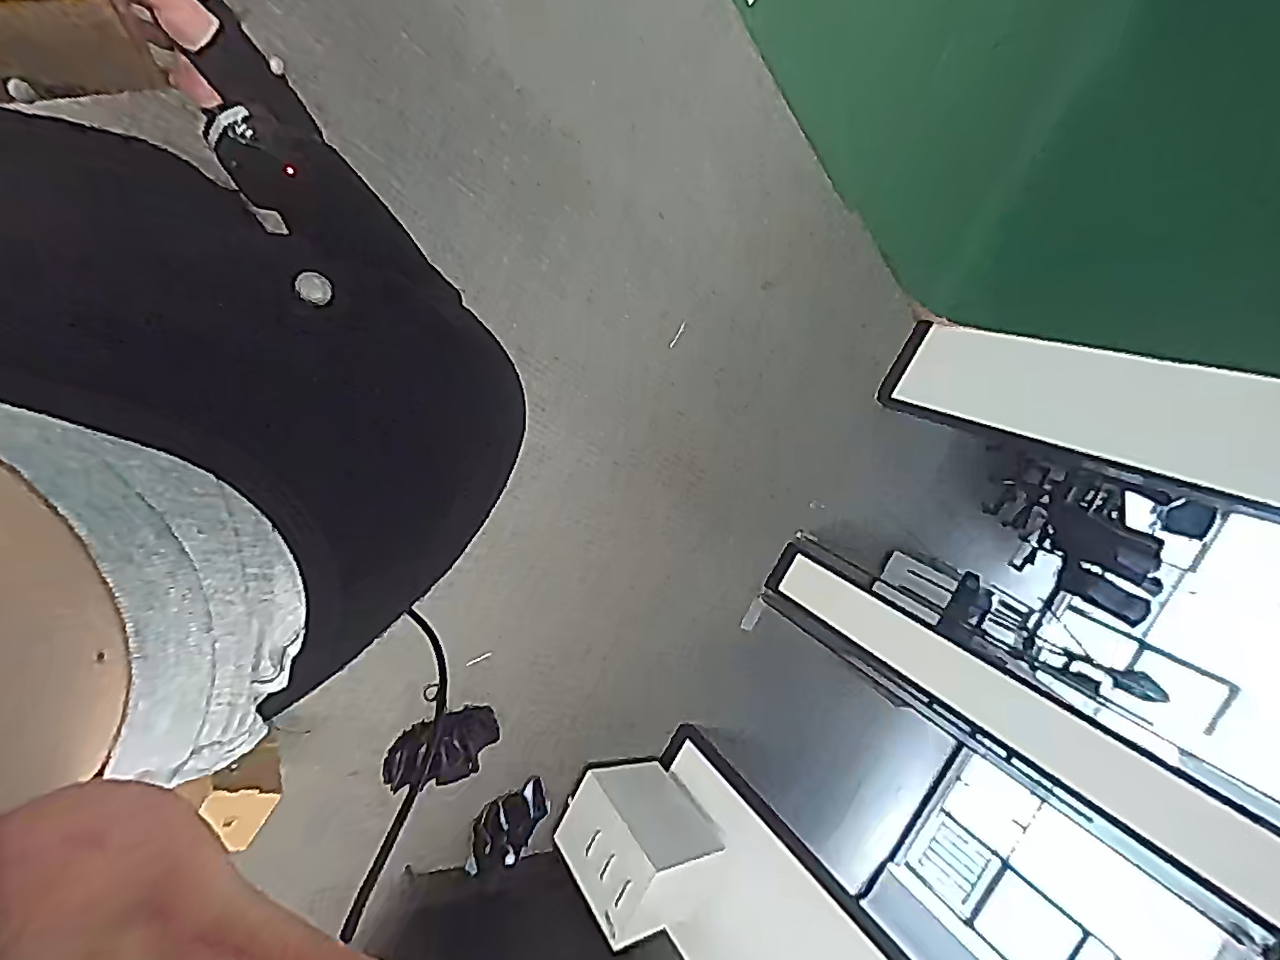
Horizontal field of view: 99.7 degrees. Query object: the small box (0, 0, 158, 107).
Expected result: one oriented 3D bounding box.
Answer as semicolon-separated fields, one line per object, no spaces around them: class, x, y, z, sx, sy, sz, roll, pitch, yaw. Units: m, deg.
small box;-0.480;-0.379;0.360;0.168;0.176;0.179;-21;114;-20
